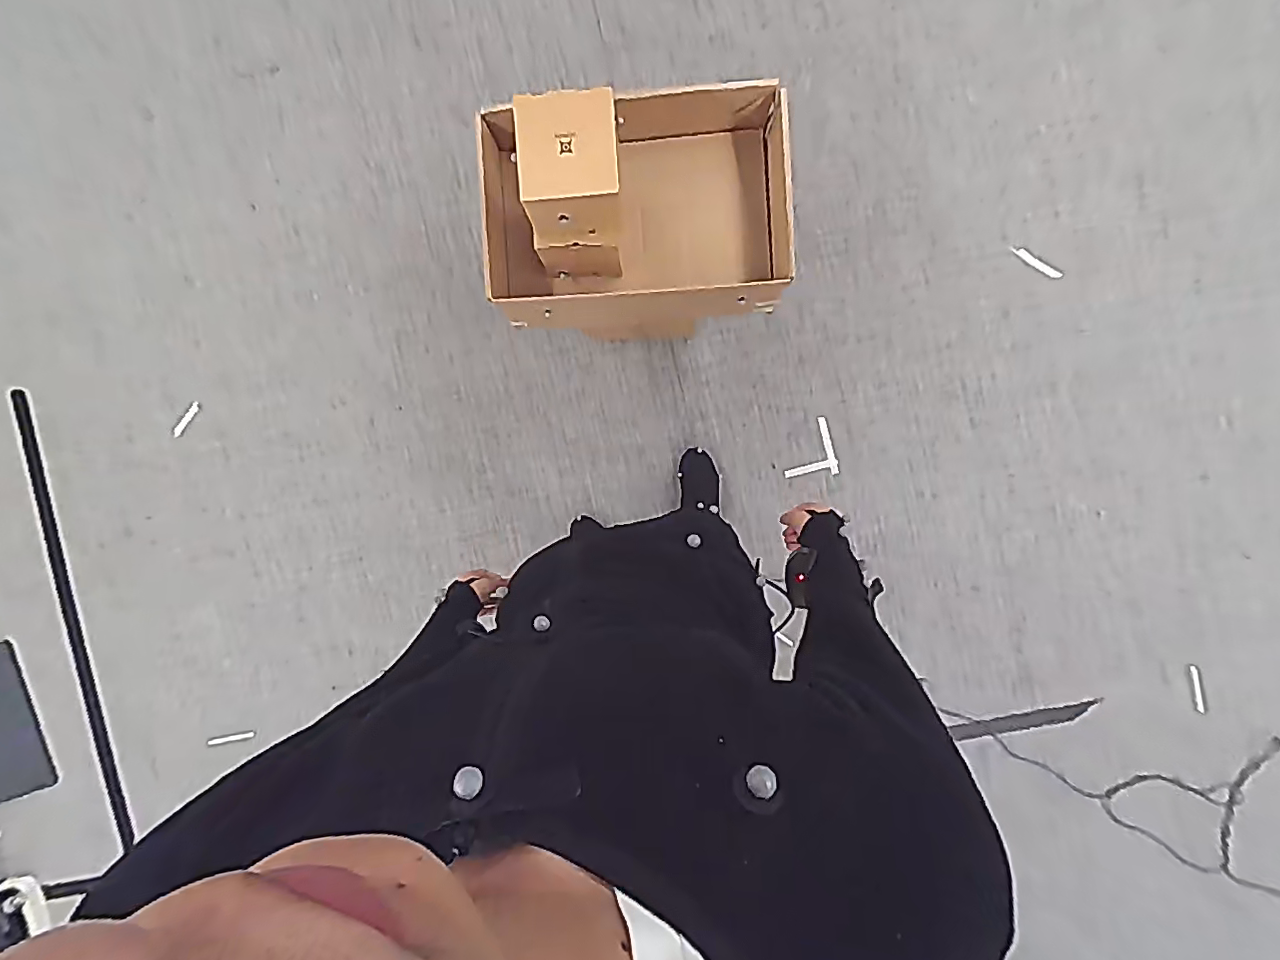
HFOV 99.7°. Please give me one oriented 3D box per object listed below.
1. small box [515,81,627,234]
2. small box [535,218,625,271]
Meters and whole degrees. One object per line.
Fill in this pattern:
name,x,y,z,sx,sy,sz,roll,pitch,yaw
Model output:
small box,-0.114,-0.554,0.956,0.168,0.176,0.179,-4,90,2
small box,-0.118,-0.546,1.119,0.168,0.176,0.179,0,91,2
